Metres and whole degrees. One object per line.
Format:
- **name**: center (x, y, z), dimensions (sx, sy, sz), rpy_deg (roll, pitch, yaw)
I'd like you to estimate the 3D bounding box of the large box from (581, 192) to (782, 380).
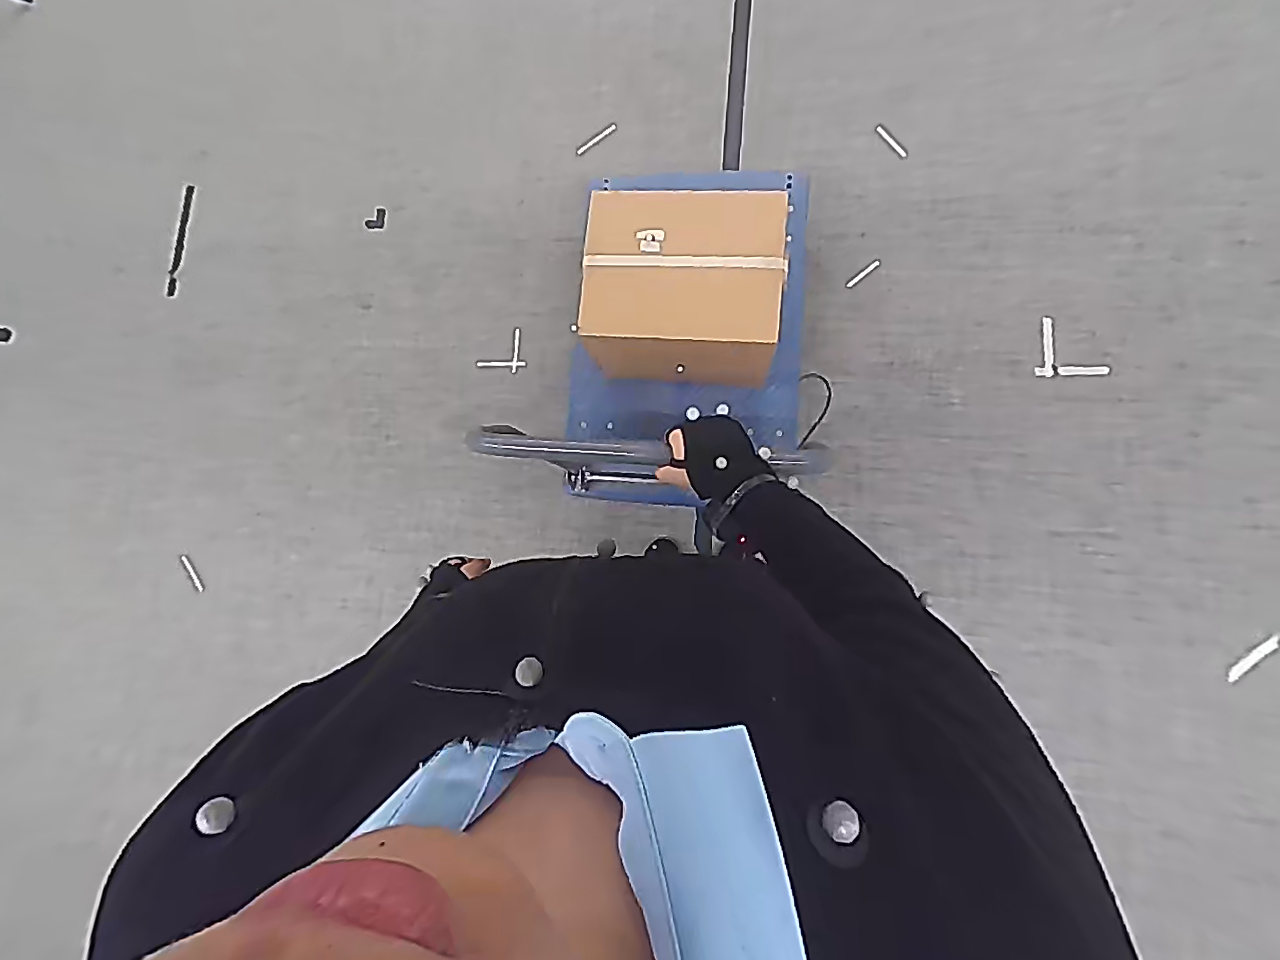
- **large box**: center (0.107, -0.422, 1.249), dimensions (0.408, 0.320, 0.320), rpy_deg (4, 84, 10)
